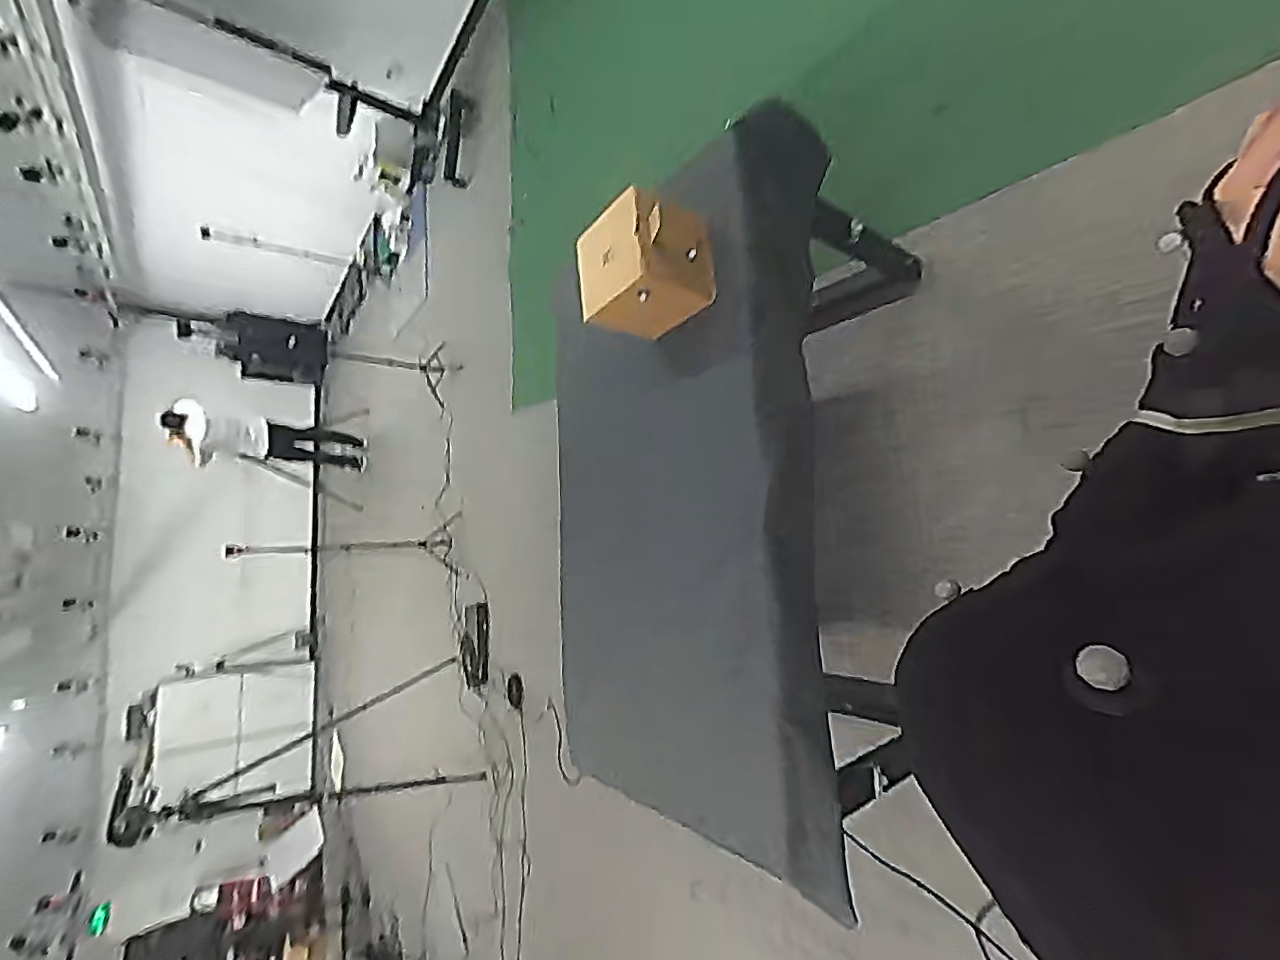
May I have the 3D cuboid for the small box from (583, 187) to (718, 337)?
[{"bbox_3d":[0.017,-0.377,0.977,0.179,0.176,0.168,-19,73,50],"label":"small box"}]
